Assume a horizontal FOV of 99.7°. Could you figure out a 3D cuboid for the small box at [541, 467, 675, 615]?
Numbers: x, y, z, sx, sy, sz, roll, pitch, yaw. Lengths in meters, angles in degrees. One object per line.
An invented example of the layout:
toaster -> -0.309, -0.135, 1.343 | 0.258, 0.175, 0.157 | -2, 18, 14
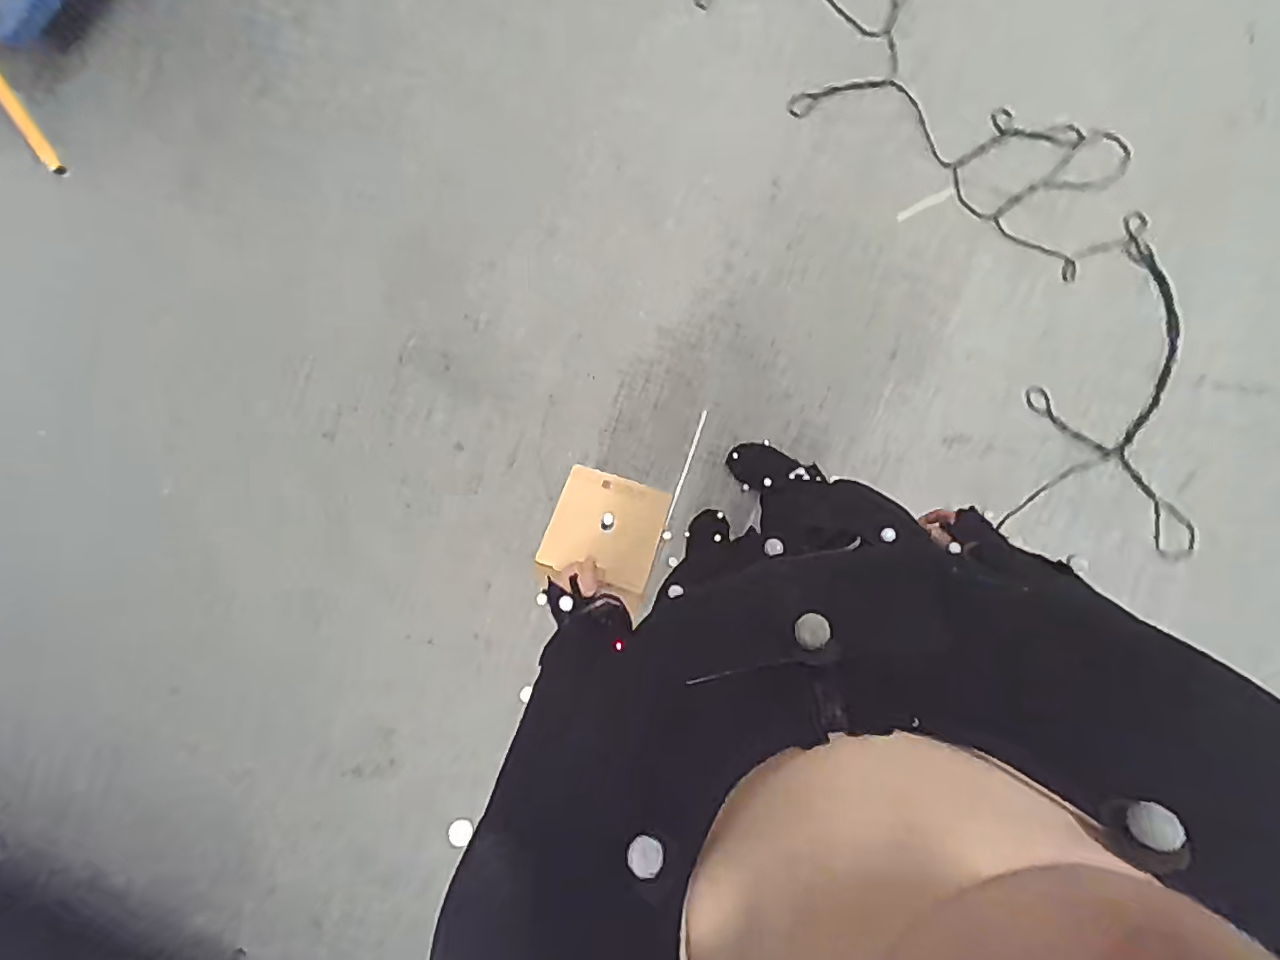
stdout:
small box -> -0.048, 0.100, 0.877 | 0.168, 0.179, 0.176 | 18, 66, 4
